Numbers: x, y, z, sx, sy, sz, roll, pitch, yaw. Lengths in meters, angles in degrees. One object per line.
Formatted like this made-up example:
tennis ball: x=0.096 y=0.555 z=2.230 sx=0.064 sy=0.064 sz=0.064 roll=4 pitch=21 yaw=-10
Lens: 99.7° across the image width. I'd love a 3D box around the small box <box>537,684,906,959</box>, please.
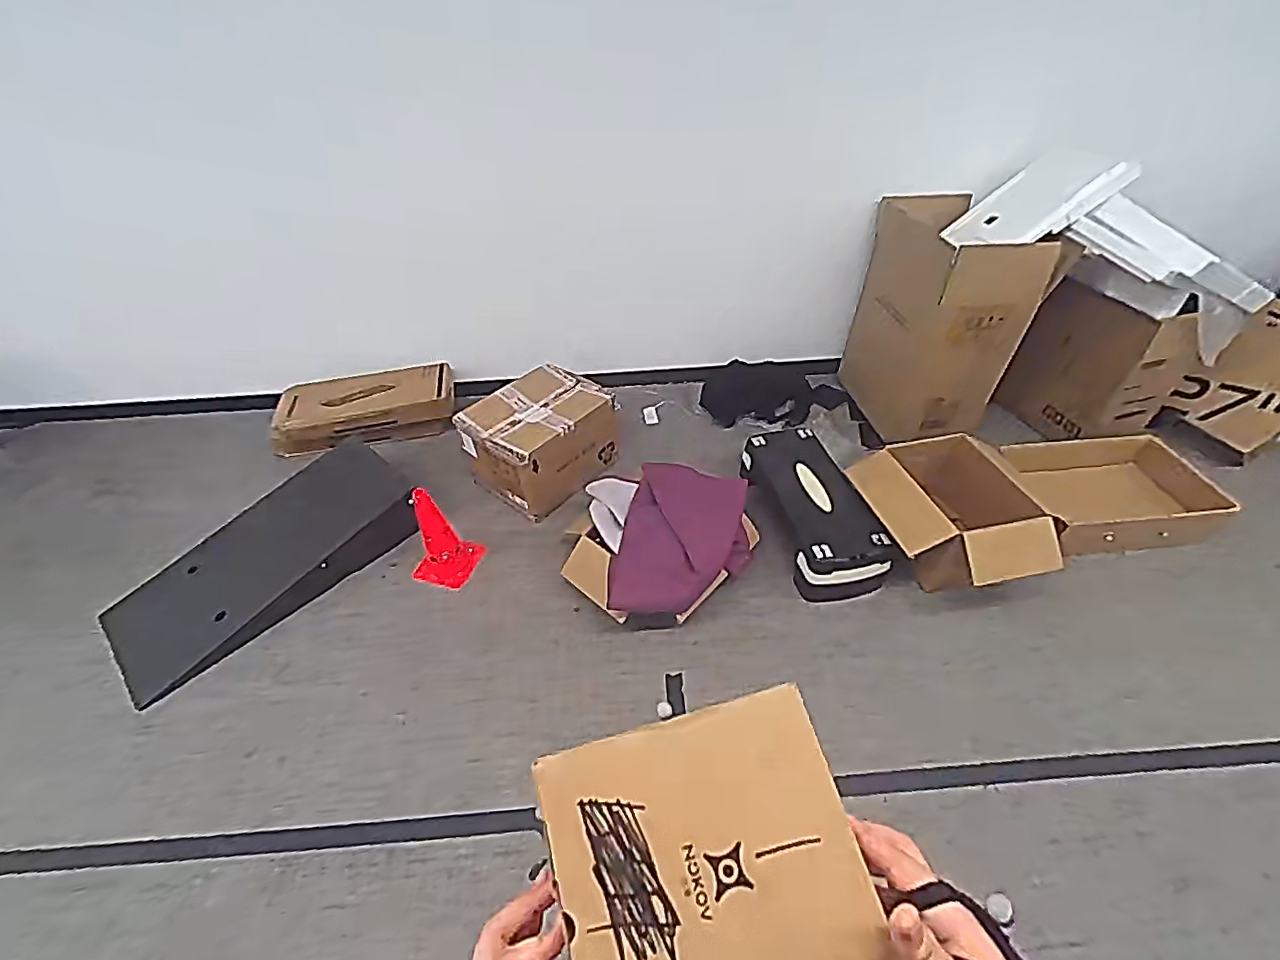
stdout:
small box: x=0.035 y=0.257 z=0.370 sx=0.179 sy=0.176 sz=0.168 roll=-11 pitch=63 yaw=-12
